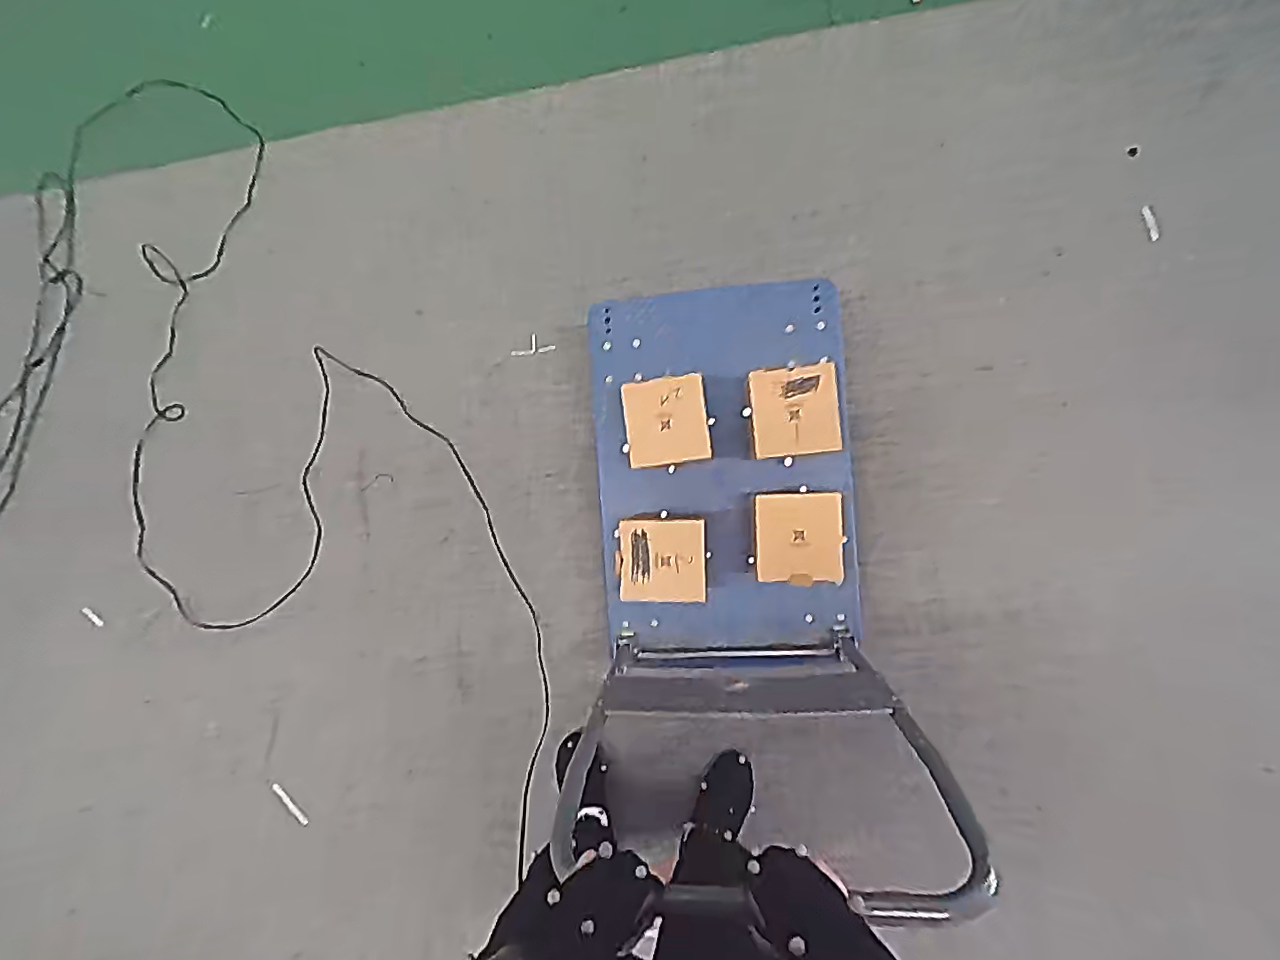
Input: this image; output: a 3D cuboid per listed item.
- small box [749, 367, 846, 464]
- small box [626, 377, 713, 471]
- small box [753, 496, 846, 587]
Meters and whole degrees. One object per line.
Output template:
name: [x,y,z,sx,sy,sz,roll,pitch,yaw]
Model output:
small box: [0.322,-0.127,1.132,0.168,0.176,0.179,-4,90,8]
small box: [0.069,-0.113,1.166,0.168,0.176,0.179,-6,89,7]
small box: [0.327,0.121,1.132,0.168,0.176,0.179,-1,90,8]
